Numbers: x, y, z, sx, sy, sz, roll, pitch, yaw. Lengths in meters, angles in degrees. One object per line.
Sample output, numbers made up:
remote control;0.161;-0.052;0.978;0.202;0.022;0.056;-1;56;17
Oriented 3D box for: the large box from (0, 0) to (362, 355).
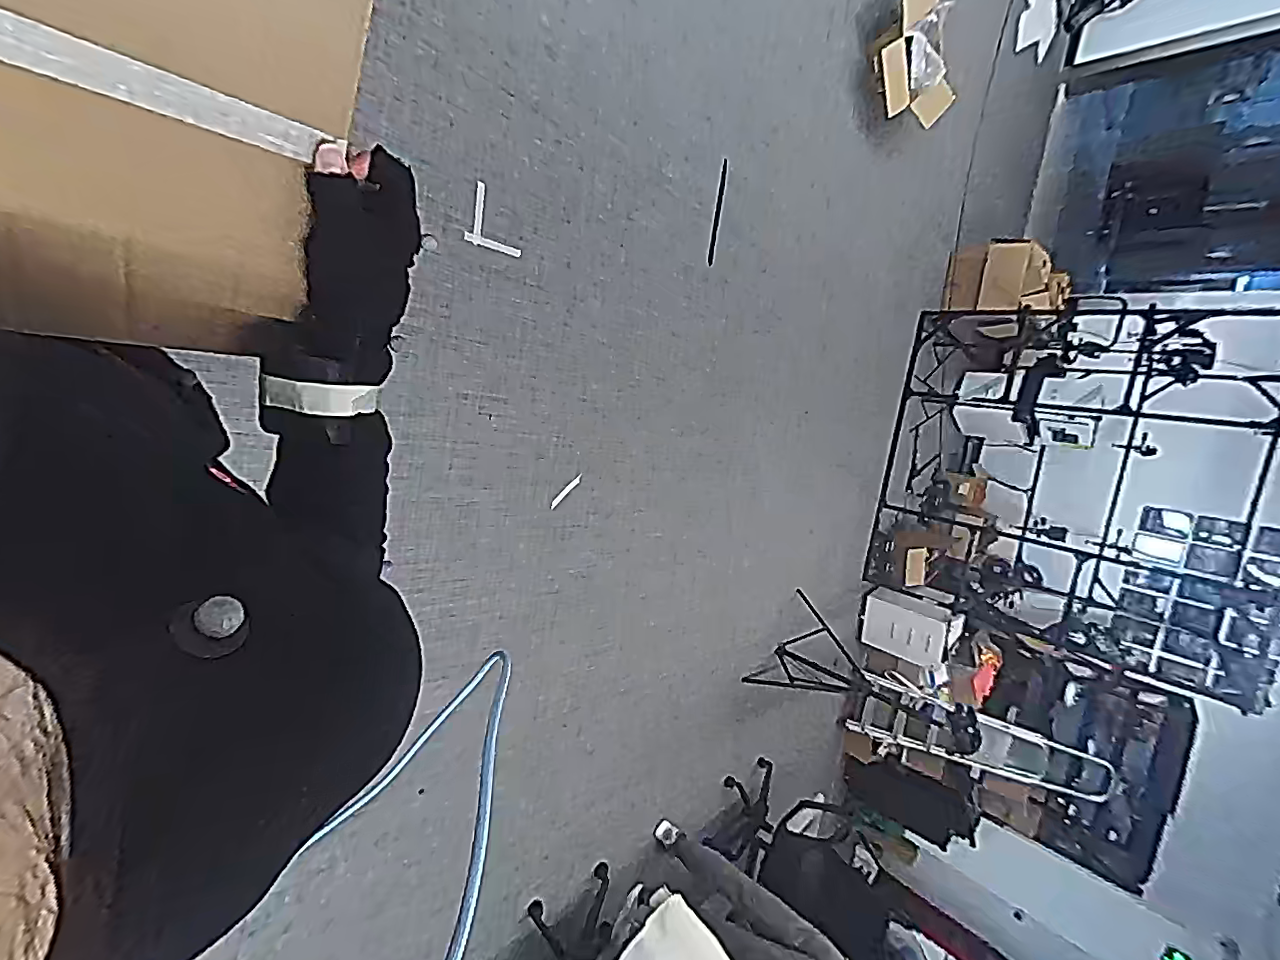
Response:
large box;-0.416;-0.299;0.279;0.408;0.320;0.320;-3;138;-45
